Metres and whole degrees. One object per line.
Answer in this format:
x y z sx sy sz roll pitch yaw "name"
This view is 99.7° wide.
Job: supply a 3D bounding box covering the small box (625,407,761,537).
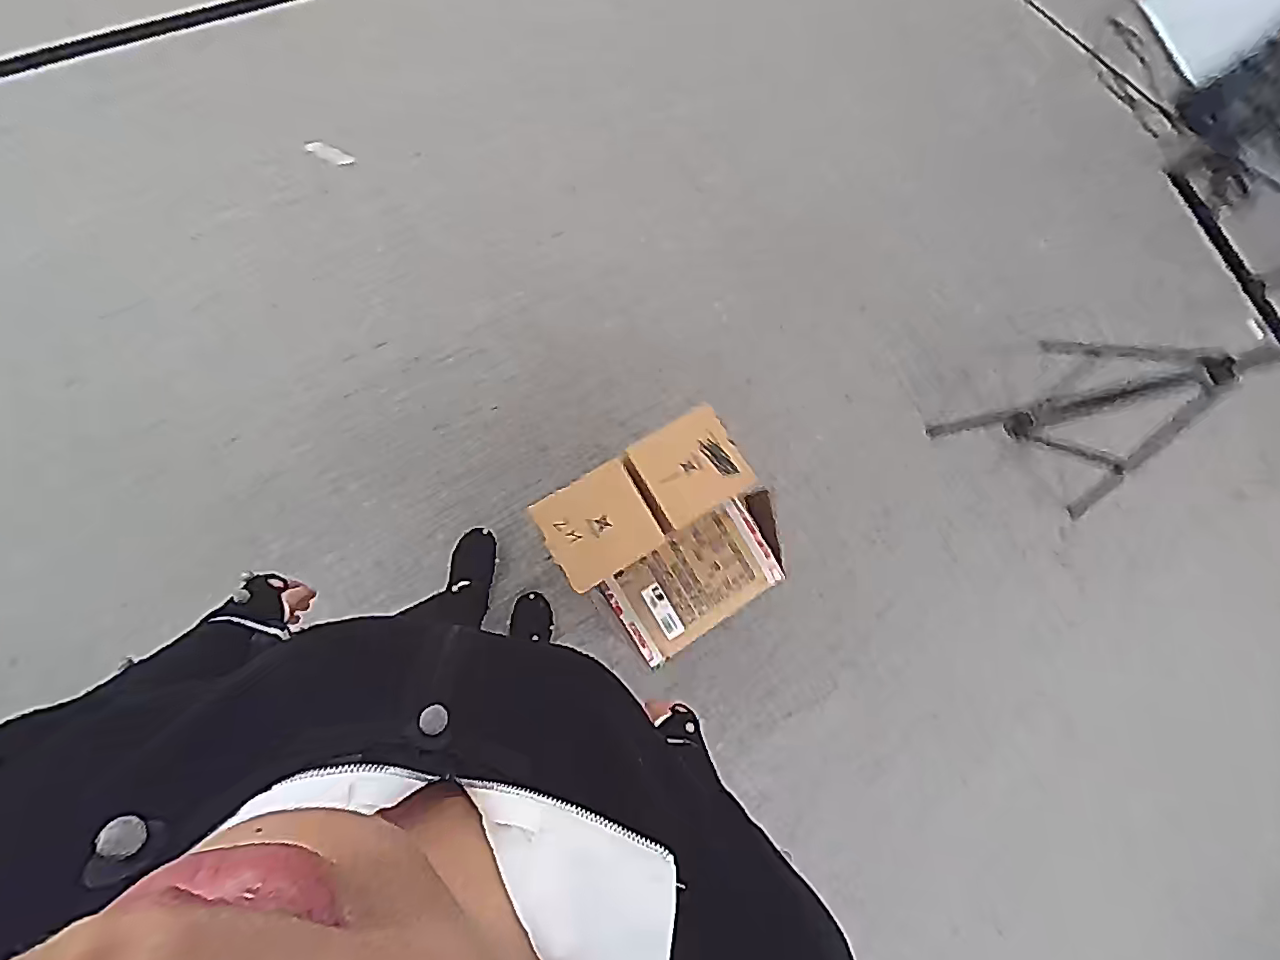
0.089 -0.008 1.005 0.179 0.176 0.168 -30 85 -11 "small box"
